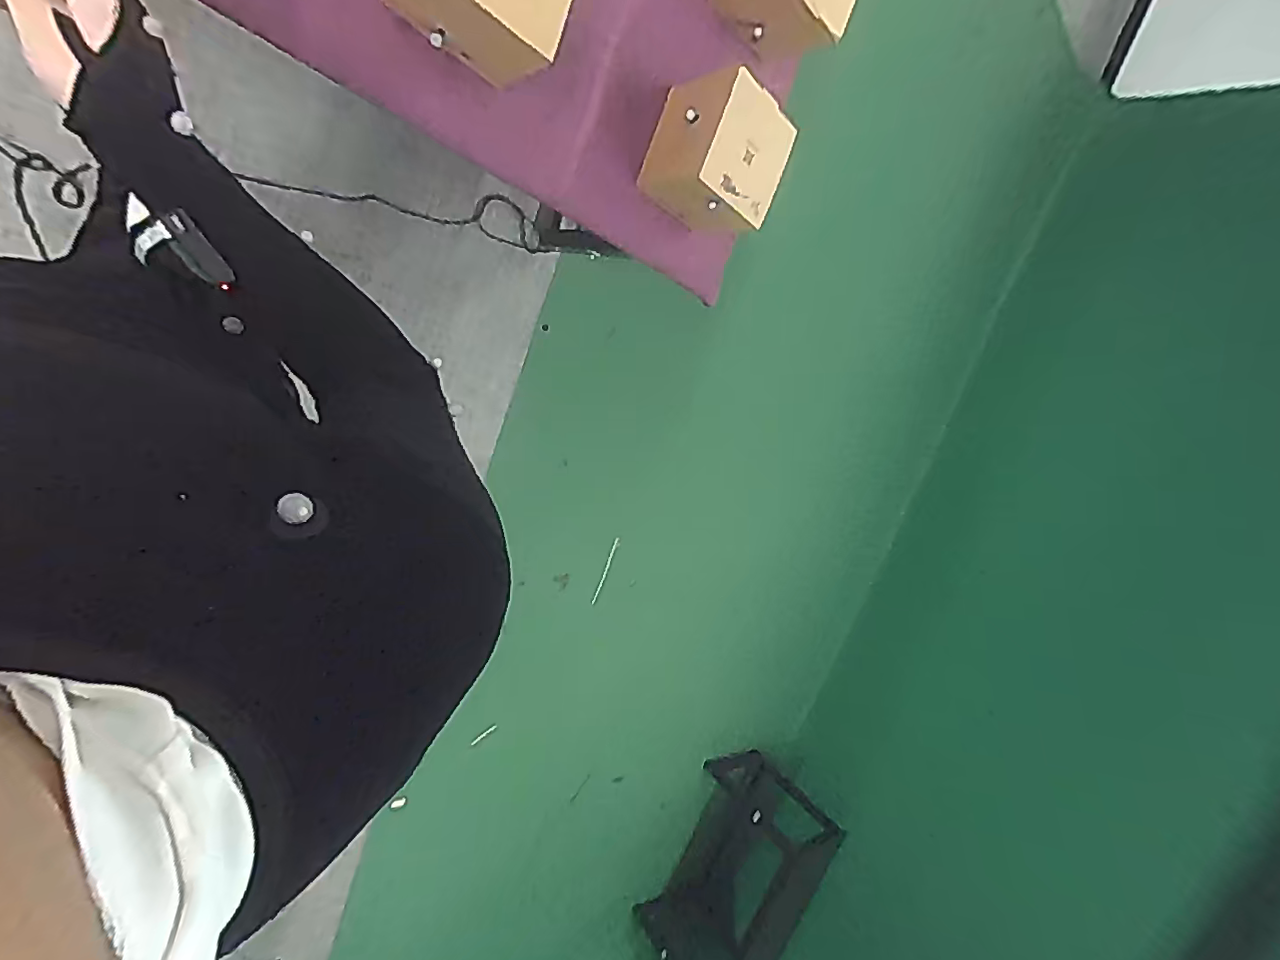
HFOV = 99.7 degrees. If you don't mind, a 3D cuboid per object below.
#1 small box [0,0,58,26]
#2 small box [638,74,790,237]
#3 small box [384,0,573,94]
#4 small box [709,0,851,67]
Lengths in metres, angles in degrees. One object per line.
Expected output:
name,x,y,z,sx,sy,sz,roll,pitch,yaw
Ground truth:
small box,-0.497,-0.441,0.341,0.168,0.176,0.179,0,109,-43
small box,0.123,-0.544,0.937,0.168,0.176,0.179,15,98,-42
small box,-0.188,-0.612,0.648,0.168,0.176,0.179,13,101,-42
small box,0.241,-0.836,0.893,0.168,0.176,0.179,11,104,-40
